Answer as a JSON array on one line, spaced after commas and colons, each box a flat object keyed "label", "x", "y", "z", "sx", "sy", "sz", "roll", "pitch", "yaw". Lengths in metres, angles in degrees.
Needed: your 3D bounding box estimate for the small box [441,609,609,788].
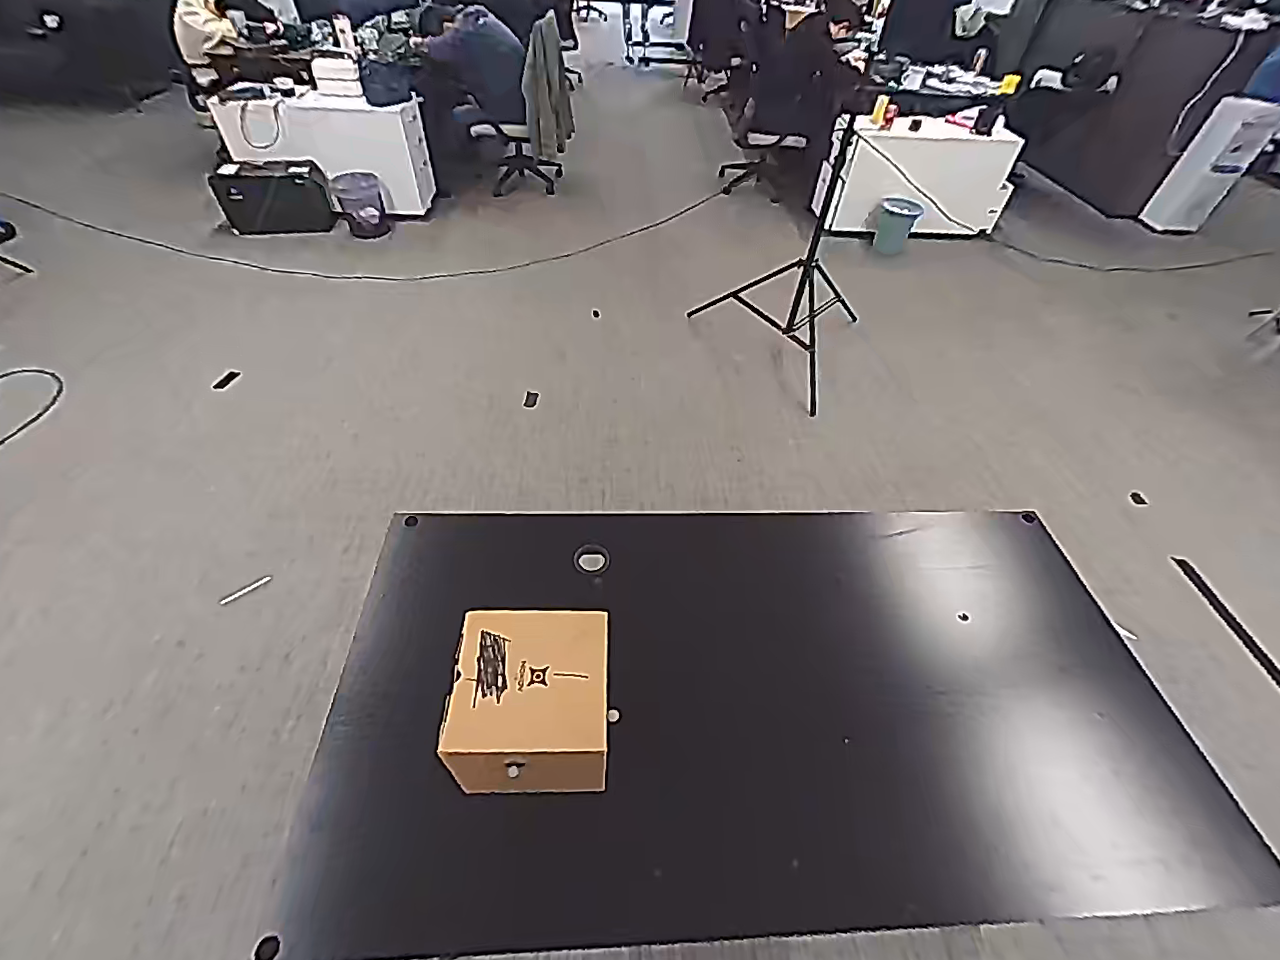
[{"label": "small box", "x": -0.129, "y": 0.278, "z": 0.681, "sx": 0.179, "sy": 0.176, "sz": 0.168, "roll": 1, "pitch": 47, "yaw": -4}]
